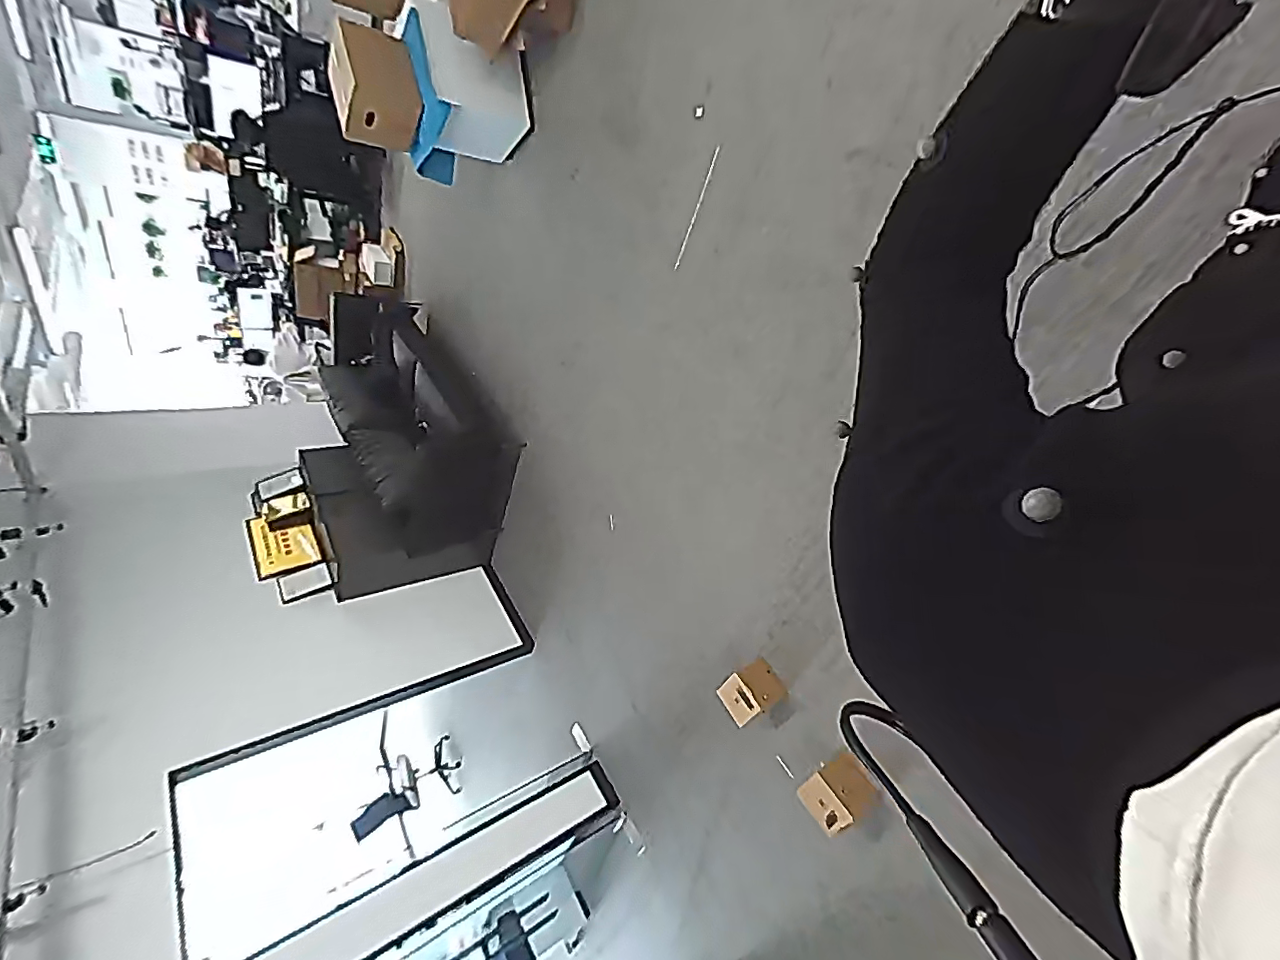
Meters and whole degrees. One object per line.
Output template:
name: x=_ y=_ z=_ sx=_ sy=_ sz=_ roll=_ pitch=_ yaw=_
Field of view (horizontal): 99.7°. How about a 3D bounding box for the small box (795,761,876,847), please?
small box: x=0.691 y=1.137 z=1.903 sx=0.179 sy=0.176 sz=0.168 roll=50 pitch=132 yaw=34
